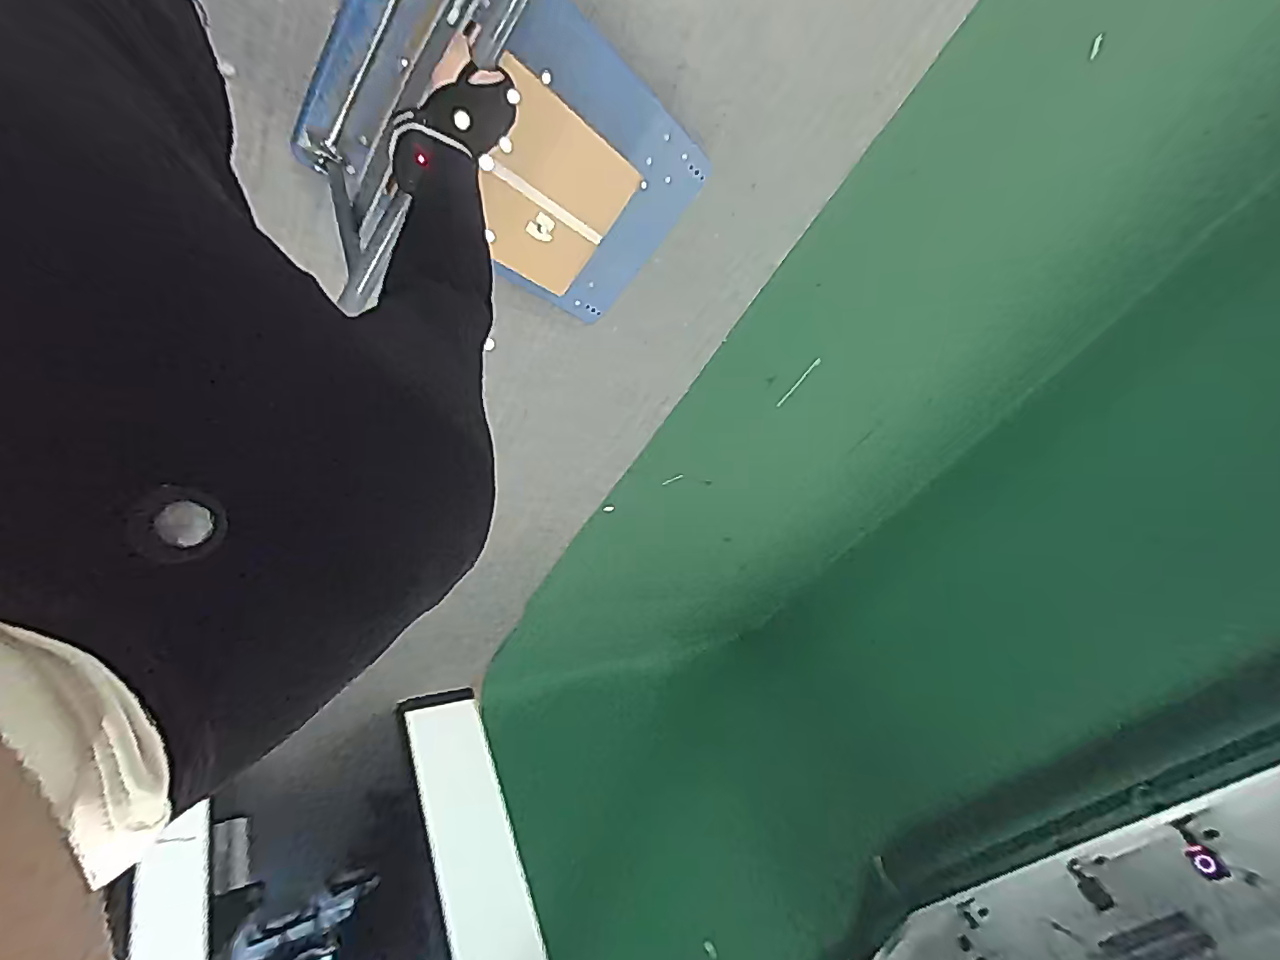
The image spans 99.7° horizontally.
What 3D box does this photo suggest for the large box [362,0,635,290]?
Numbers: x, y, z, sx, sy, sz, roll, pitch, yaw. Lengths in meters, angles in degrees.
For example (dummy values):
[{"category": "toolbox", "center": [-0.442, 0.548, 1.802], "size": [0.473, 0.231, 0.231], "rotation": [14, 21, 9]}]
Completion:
[{"category": "large box", "center": [-0.298, -0.677, 1.127], "size": [0.408, 0.320, 0.320], "rotation": [15, 125, -47]}]
